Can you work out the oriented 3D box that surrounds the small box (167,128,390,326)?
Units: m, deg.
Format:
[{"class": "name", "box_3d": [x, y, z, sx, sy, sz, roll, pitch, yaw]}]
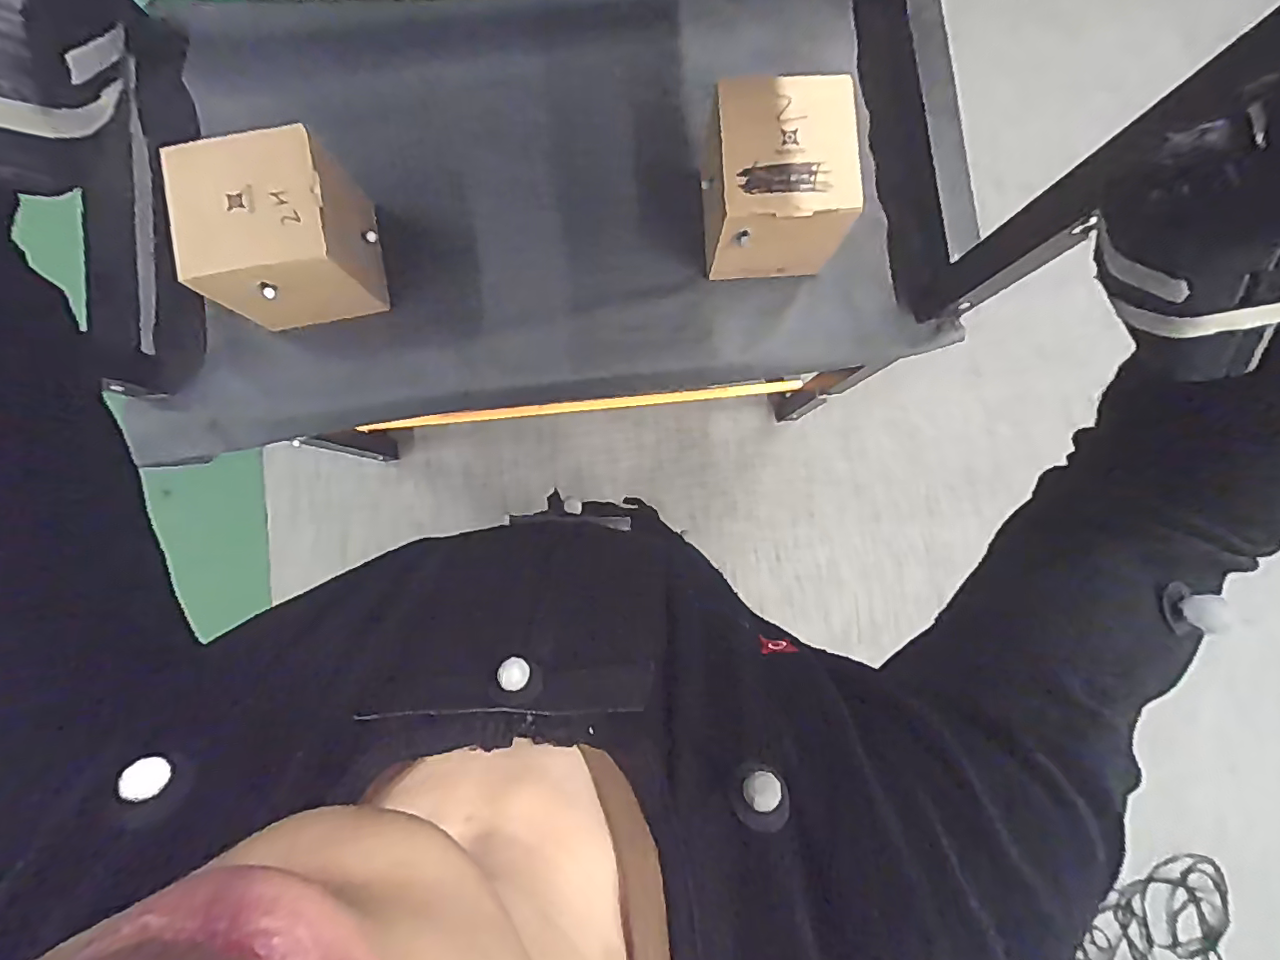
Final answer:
[{"class": "small box", "box_3d": [-0.462, -0.318, 0.714, 0.179, 0.176, 0.168, -10, 86, -2]}]
